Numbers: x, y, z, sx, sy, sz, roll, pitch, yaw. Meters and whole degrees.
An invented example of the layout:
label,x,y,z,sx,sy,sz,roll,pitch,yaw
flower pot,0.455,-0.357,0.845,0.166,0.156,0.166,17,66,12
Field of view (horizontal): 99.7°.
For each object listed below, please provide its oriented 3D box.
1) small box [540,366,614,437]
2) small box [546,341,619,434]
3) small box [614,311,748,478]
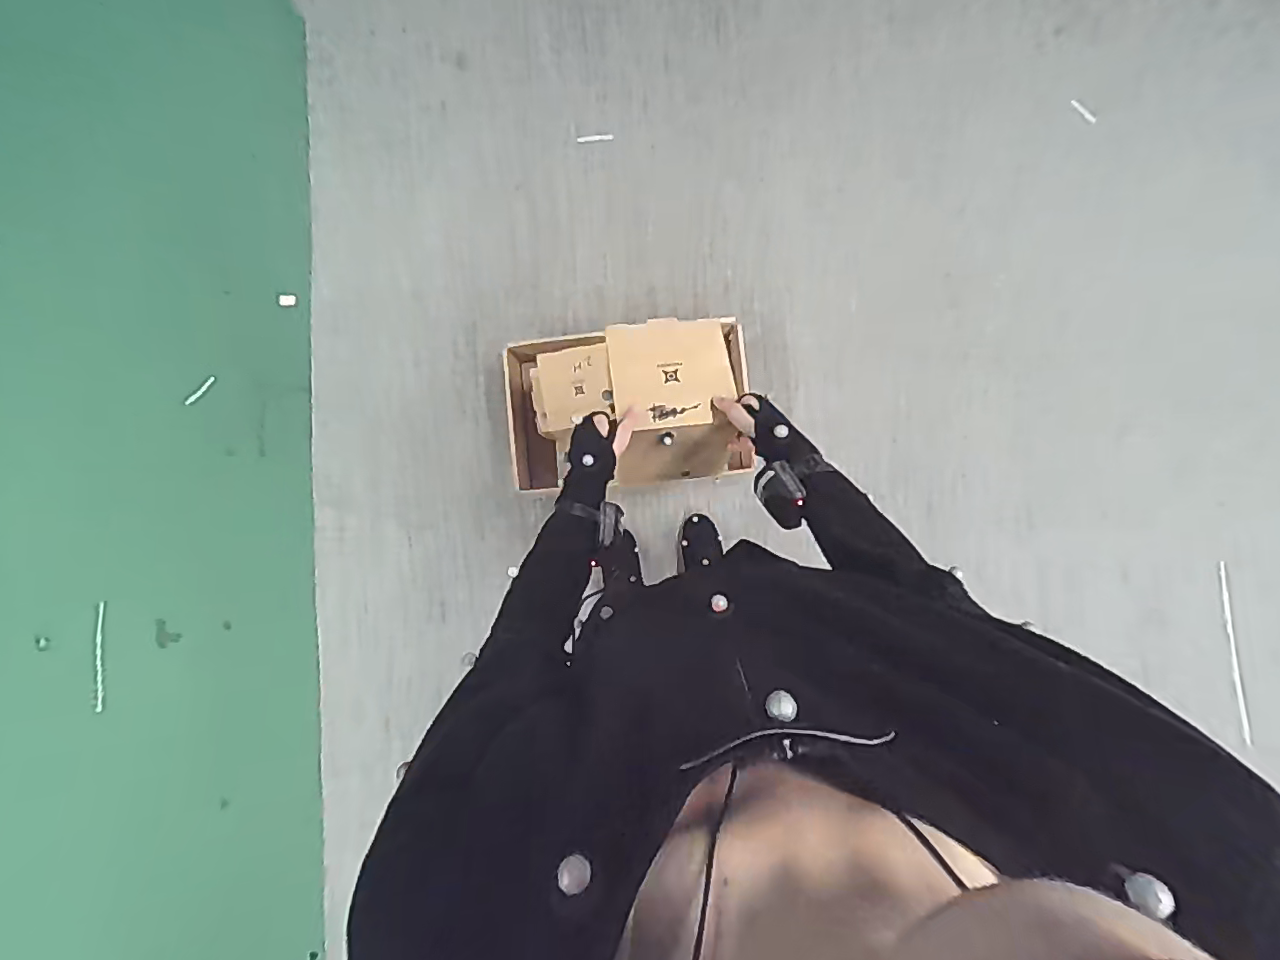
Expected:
label,x,y,z,sx,sy,sz,roll,pitch,yaw
small box,-0.155,-0.214,1.436,0.179,0.176,0.168,-8,88,1
small box,-0.112,-0.209,1.270,0.168,0.176,0.179,-10,88,1
small box,0.049,-0.121,0.797,0.168,0.176,0.179,-6,65,-3
